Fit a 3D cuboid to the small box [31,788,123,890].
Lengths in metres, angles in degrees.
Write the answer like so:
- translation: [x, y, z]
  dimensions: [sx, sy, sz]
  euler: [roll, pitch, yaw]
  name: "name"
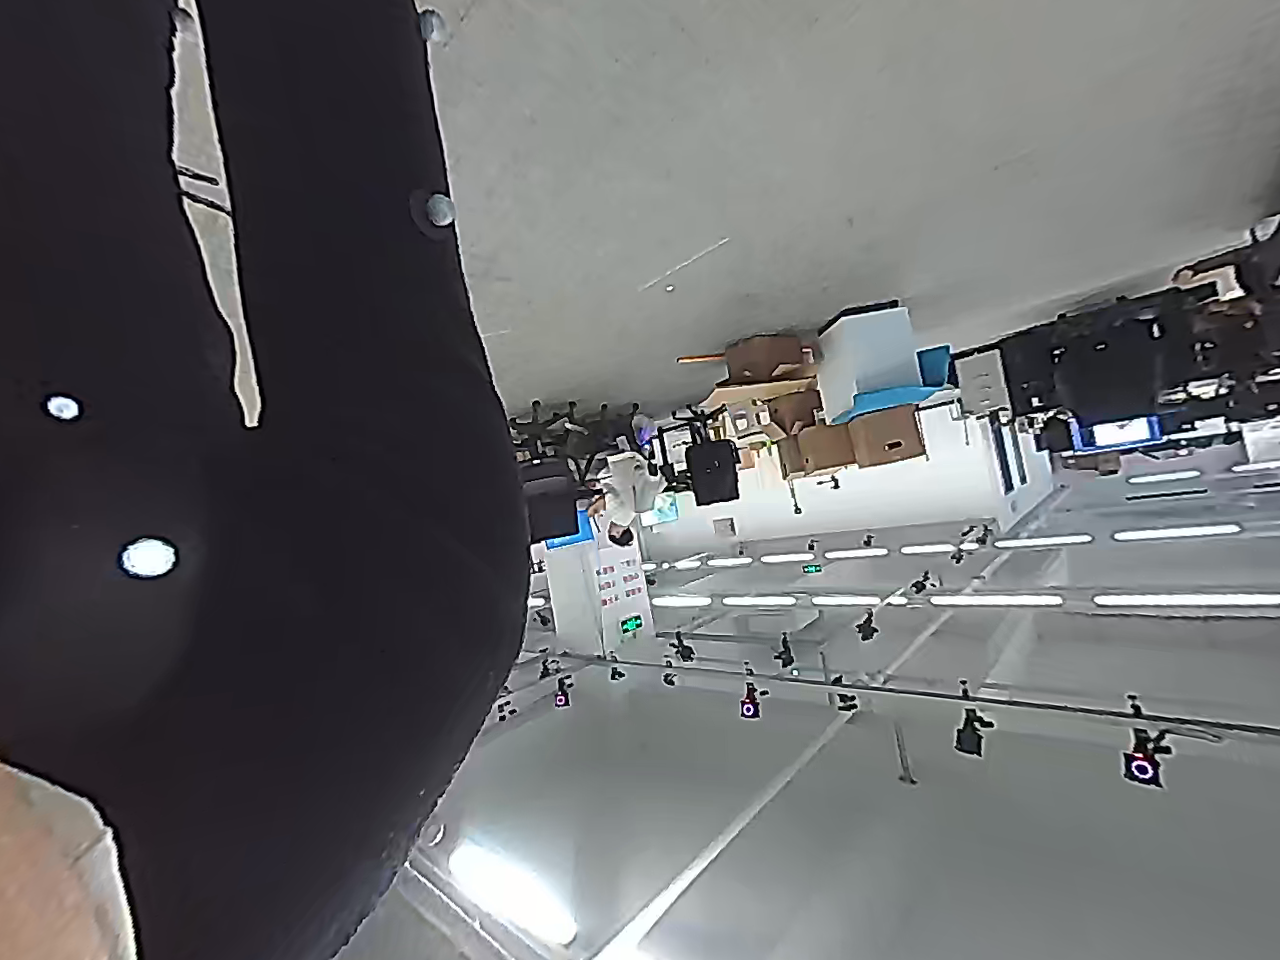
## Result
- translation: [-1.665, 1.051, 1.601]
  dimensions: [0.168, 0.176, 0.179]
  euler: [-12, 178, 44]
  name: "small box"
